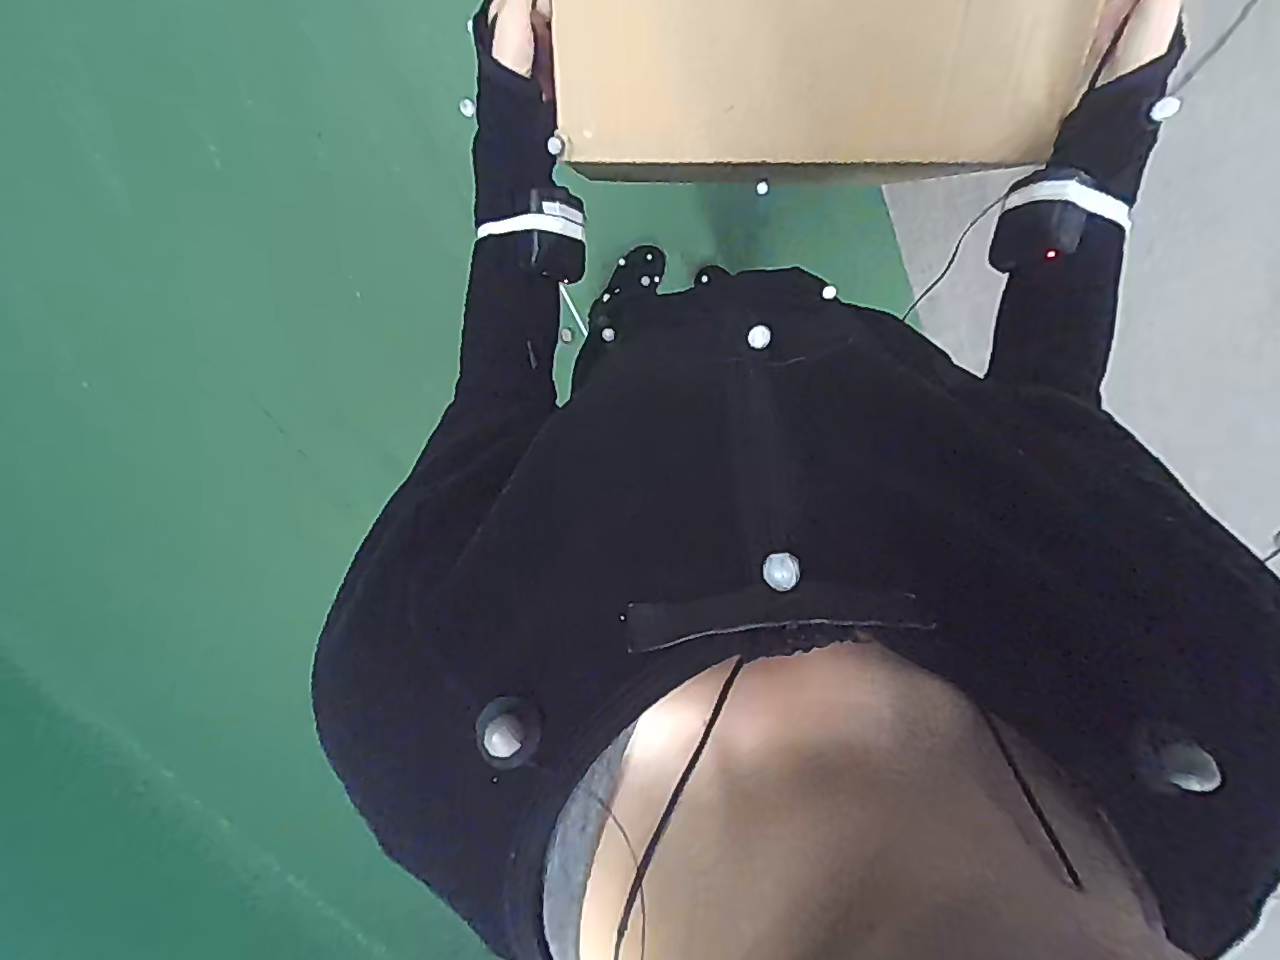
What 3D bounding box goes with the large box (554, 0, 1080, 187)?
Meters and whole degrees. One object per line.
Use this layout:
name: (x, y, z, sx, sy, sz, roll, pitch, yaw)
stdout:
large box: (0.136, -0.464, 0.521, 0.408, 0.320, 0.320, 1, 115, 0)
